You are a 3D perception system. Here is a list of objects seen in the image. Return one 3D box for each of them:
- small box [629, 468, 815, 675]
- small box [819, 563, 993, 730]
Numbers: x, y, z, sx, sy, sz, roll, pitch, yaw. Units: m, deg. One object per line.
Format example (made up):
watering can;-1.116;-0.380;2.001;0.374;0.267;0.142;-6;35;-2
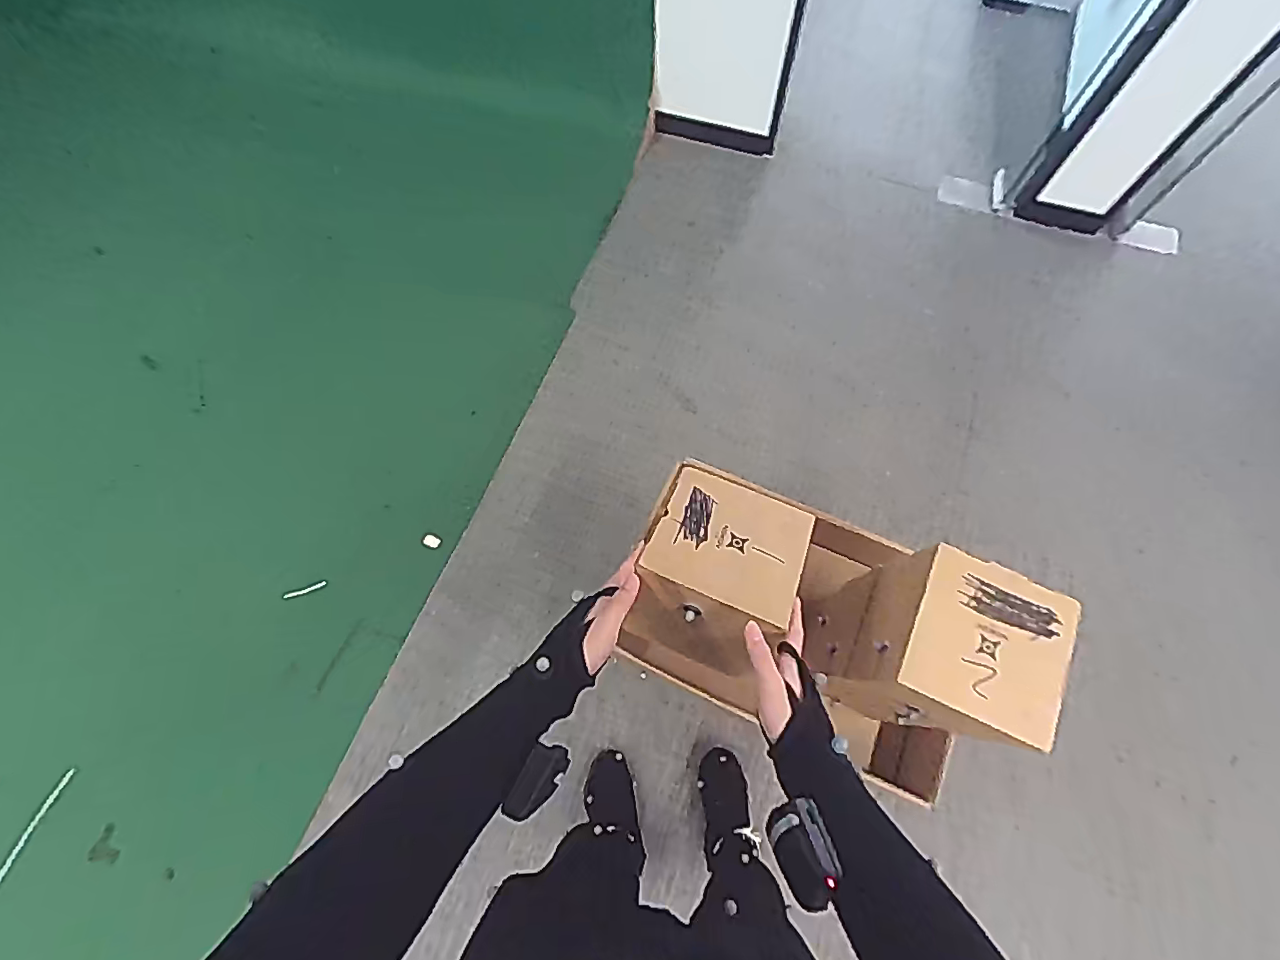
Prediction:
small box;0.097;0.119;0.684;0.179;0.176;0.168;21;50;9
small box;0.392;0.254;0.827;0.168;0.176;0.179;24;72;9
